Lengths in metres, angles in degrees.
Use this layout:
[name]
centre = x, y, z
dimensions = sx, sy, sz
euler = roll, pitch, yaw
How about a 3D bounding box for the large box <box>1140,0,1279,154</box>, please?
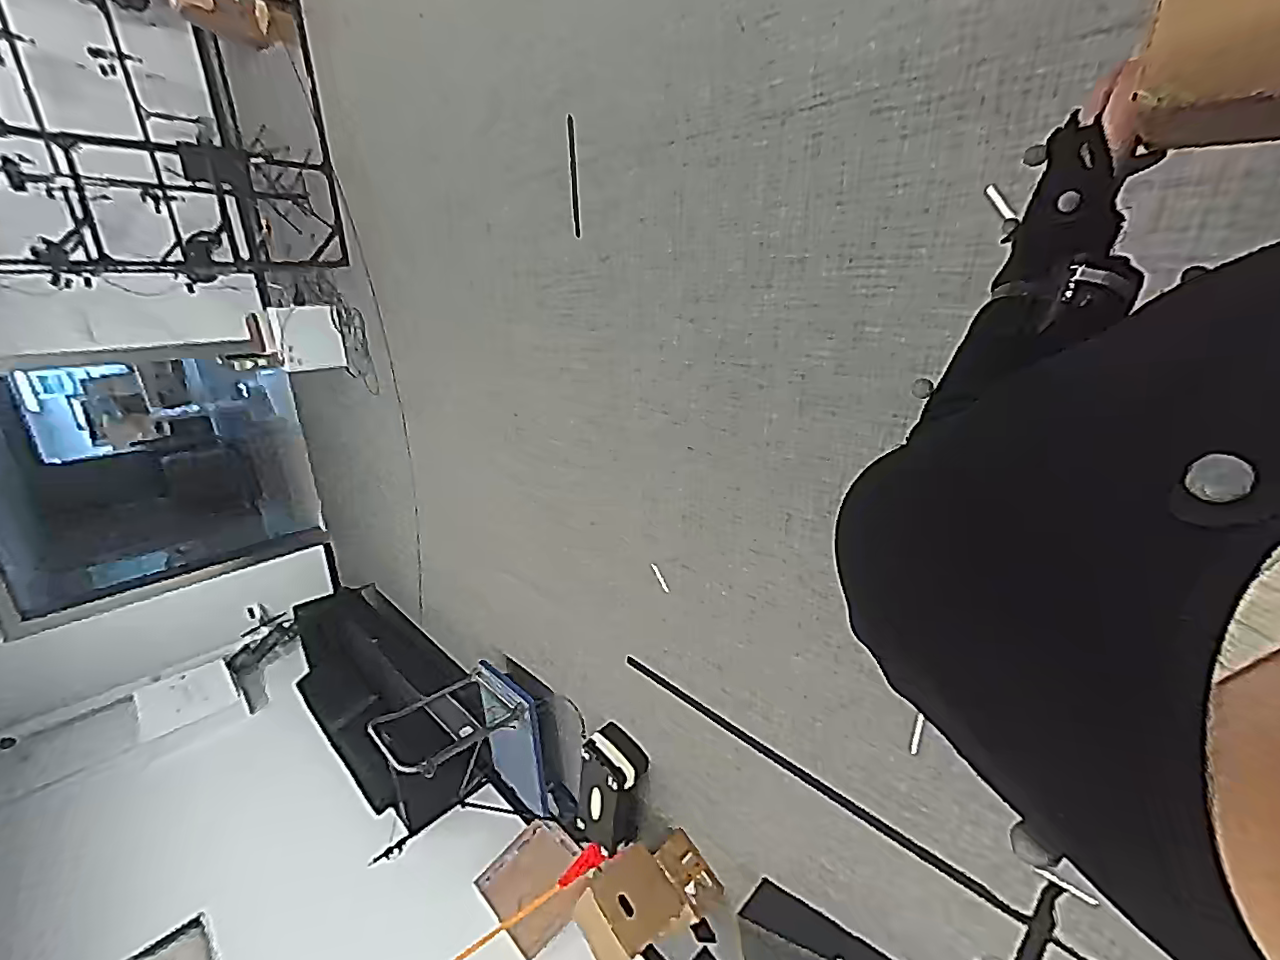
[large box]
centre = 0.455, -0.311, 0.161
dimensions = 0.408, 0.320, 0.320
euler = 16, 122, 36
